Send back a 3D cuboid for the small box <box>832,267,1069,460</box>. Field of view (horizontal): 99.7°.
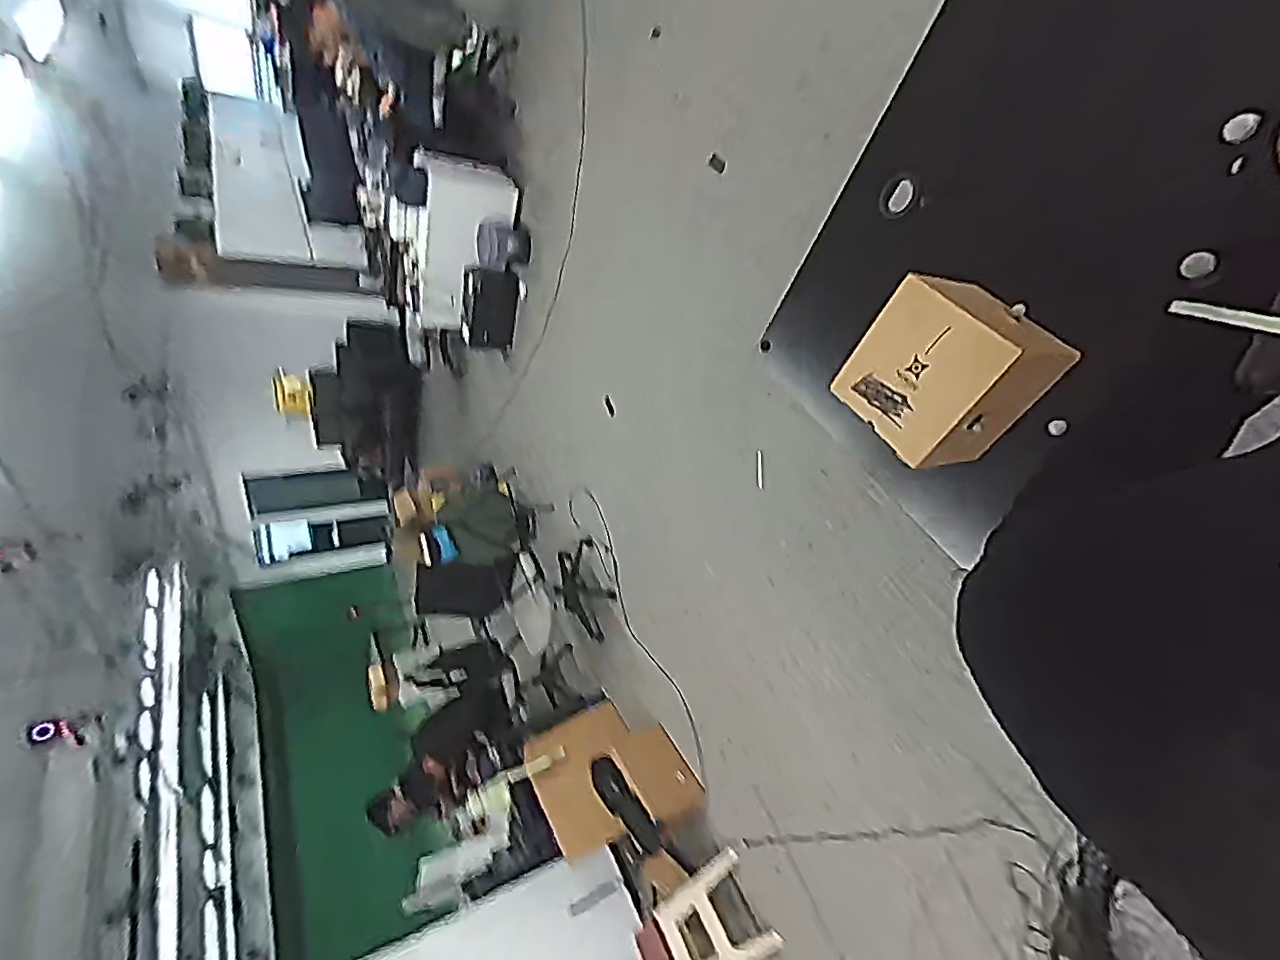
[{"bbox_3d":[0.398,-0.148,0.704,0.168,0.176,0.179,57,138,32],"label":"small box"}]
